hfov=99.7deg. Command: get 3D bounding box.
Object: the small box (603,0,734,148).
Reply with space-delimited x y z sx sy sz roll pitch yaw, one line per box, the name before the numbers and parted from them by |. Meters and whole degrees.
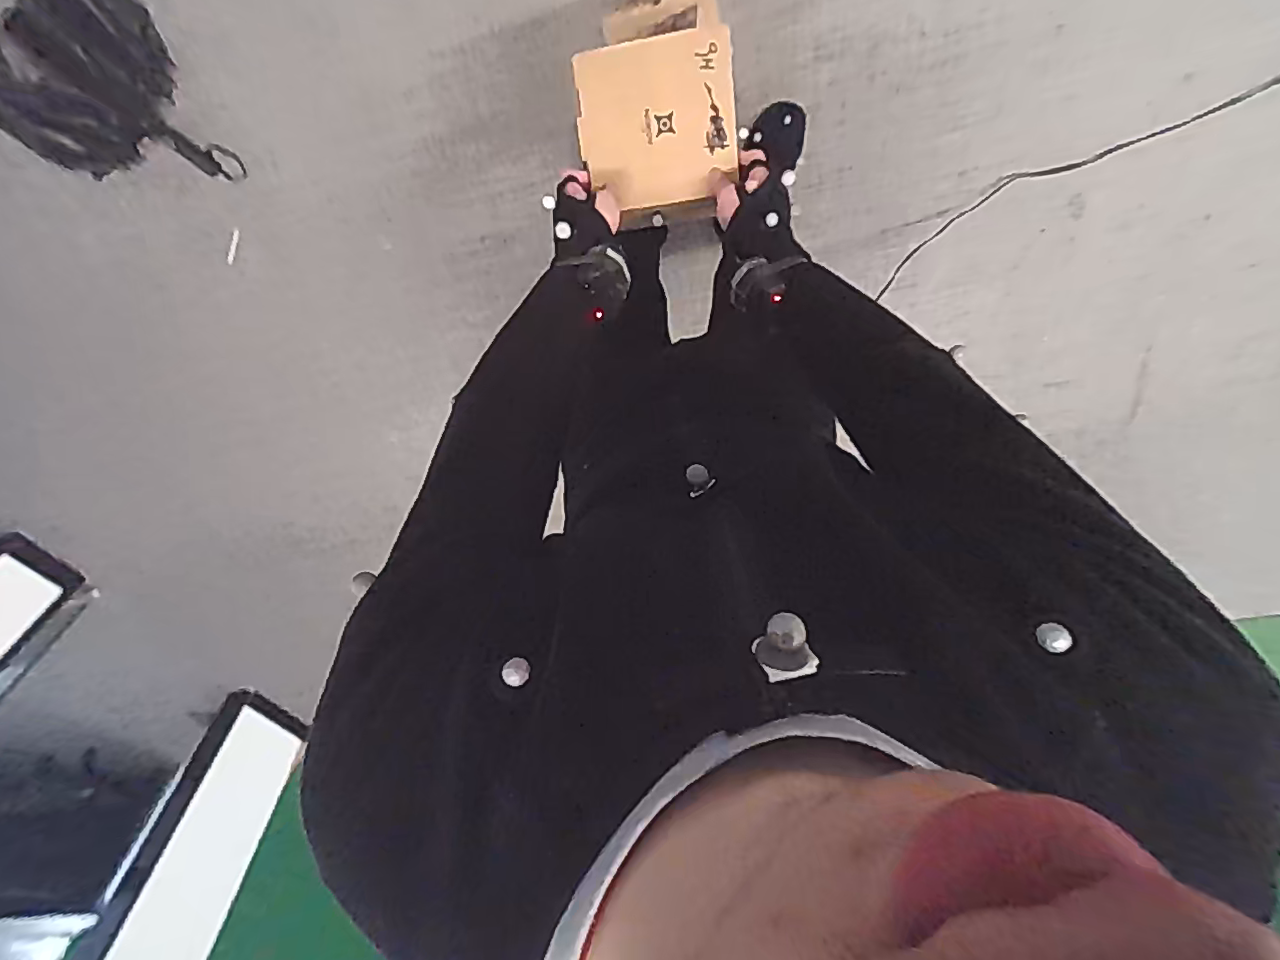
small box | 0.047 -0.668 0.863 0.168 0.176 0.179 -11 132 13
